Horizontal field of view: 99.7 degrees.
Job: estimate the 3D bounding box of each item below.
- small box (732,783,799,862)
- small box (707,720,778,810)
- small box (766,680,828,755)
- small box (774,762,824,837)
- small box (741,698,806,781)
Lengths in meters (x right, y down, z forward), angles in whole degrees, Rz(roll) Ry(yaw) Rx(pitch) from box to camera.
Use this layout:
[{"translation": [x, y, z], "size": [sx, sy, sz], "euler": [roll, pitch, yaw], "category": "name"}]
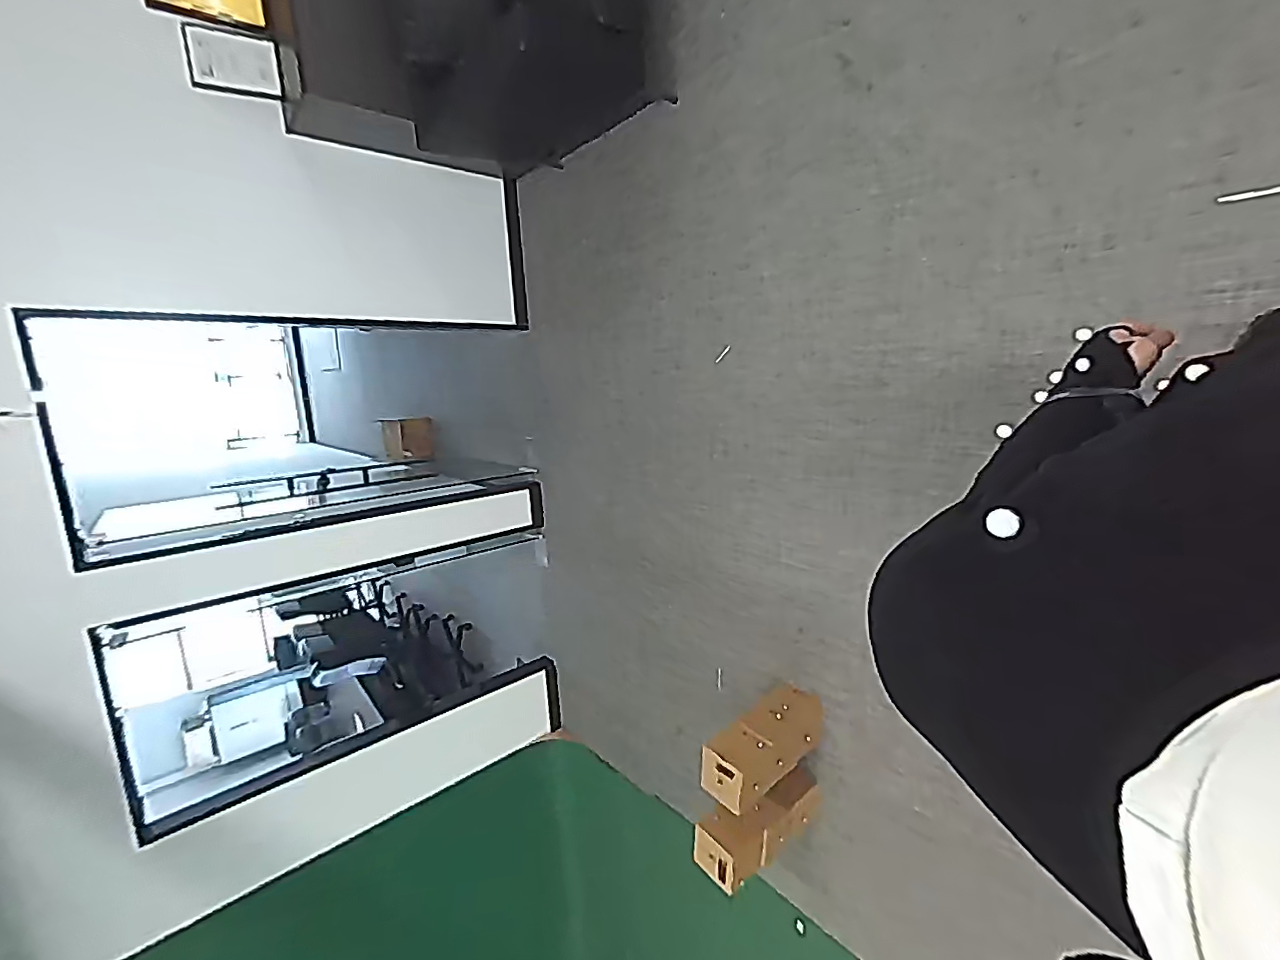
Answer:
[{"translation": [0.466, 1.245, 2.000], "size": [0.179, 0.176, 0.168], "euler": [18, 112, 47], "category": "small box"}, {"translation": [0.347, 0.948, 1.818], "size": [0.168, 0.176, 0.179], "euler": [19, 114, 47], "category": "small box"}, {"translation": [0.588, 0.889, 2.031], "size": [0.168, 0.176, 0.179], "euler": [13, 109, 48], "category": "small box"}, {"translation": [0.593, 1.225, 2.106], "size": [0.179, 0.176, 0.168], "euler": [17, 111, 49], "category": "small box"}, {"translation": [0.471, 0.915, 1.919], "size": [0.168, 0.176, 0.179], "euler": [16, 111, 48], "category": "small box"}]
